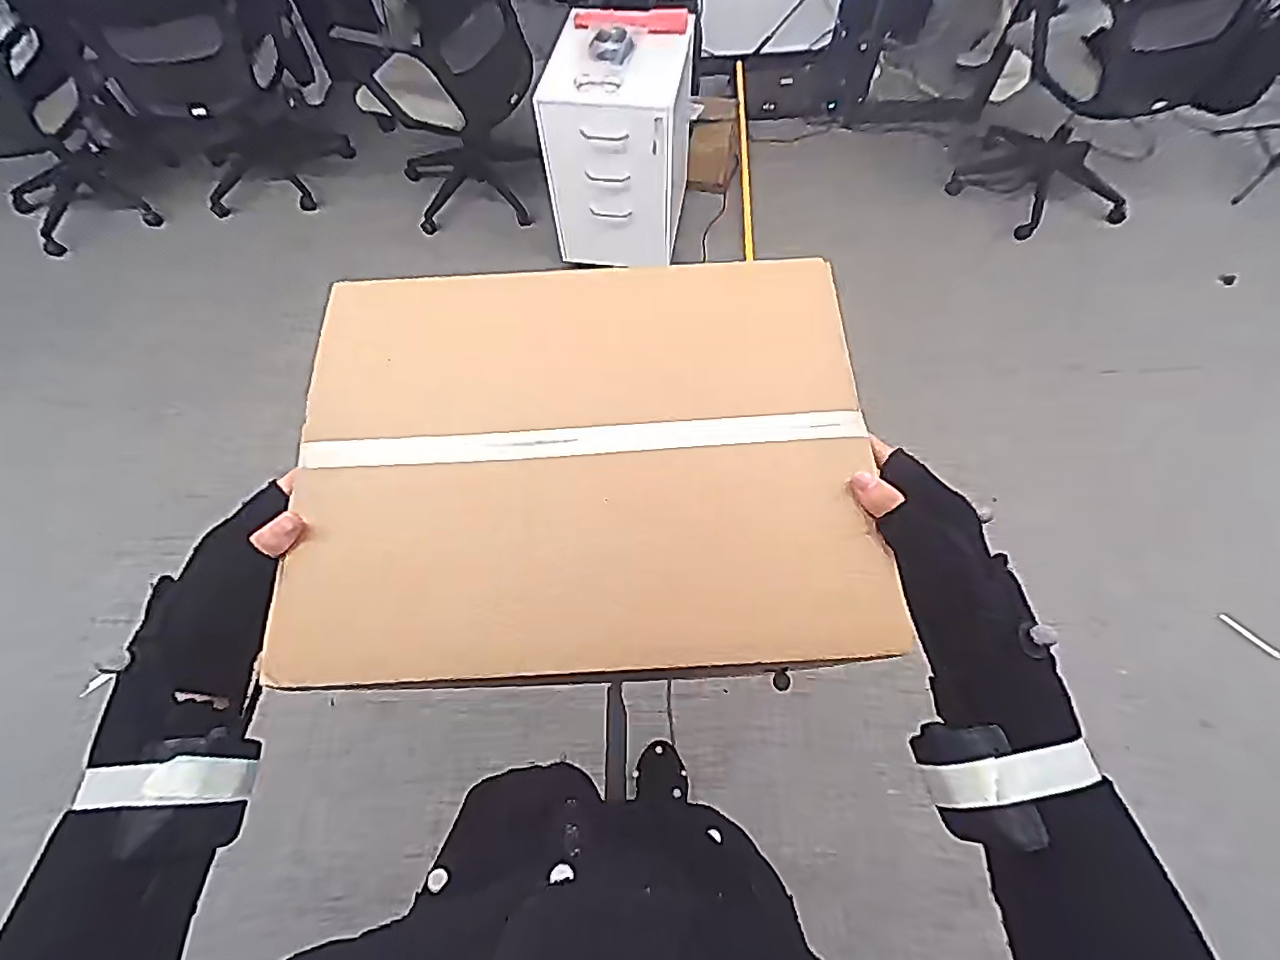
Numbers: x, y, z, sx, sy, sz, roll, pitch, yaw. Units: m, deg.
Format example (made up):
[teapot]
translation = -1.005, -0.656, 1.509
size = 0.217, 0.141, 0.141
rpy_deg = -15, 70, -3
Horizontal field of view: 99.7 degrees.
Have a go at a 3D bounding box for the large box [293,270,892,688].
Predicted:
[large box]
translation = -0.035, 0.029, 0.543
size = 0.408, 0.320, 0.320
rpy_deg = -3, 69, 0
